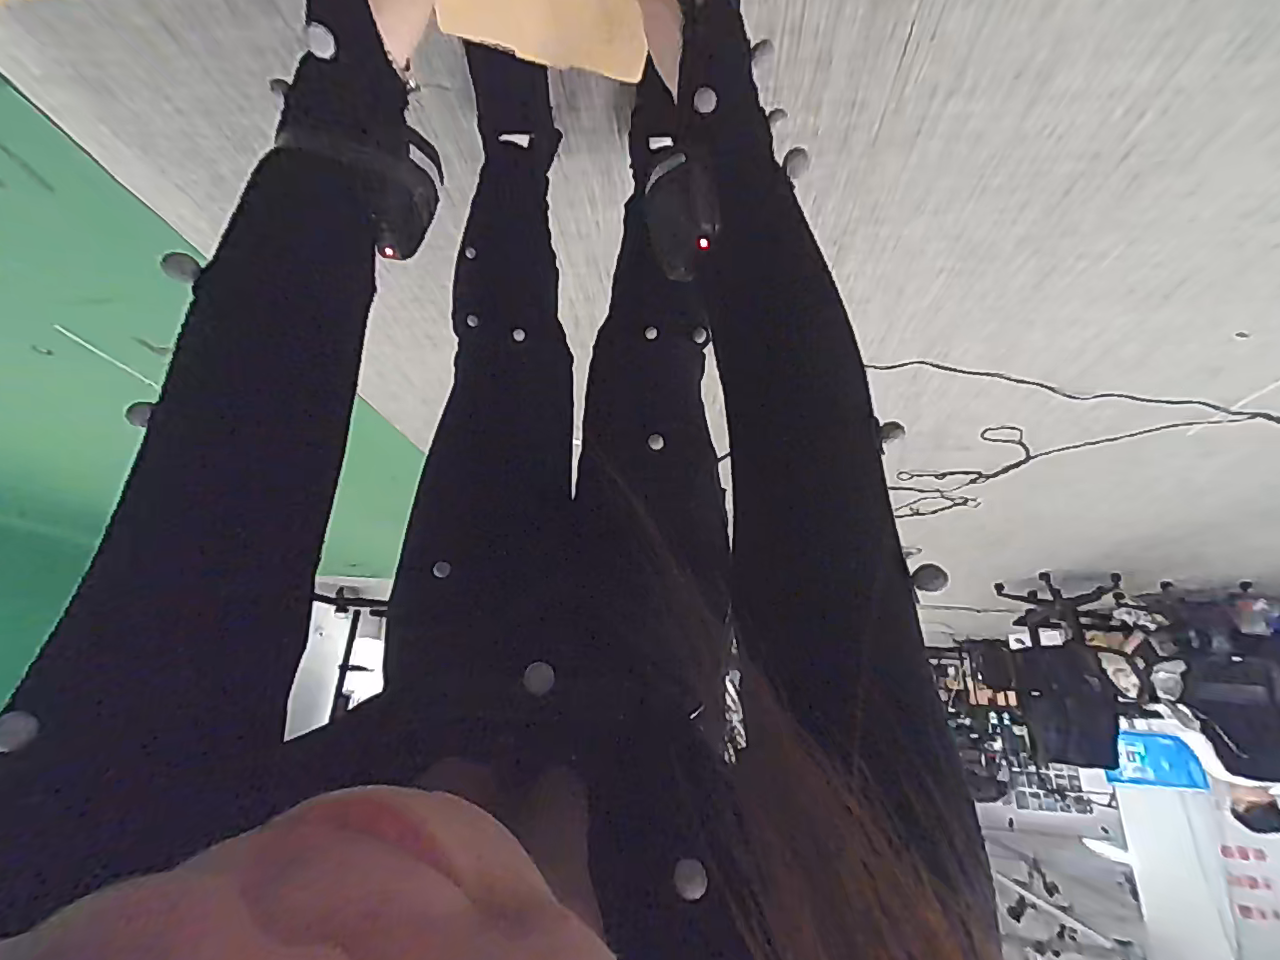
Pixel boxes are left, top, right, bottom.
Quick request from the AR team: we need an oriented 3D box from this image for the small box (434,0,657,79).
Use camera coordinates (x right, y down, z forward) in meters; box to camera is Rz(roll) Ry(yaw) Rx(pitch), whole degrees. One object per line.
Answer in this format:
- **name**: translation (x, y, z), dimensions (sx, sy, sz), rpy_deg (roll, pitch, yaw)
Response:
- **small box**: translation (-0.054, -0.445, 0.380), dimensions (0.168, 0.176, 0.179), rpy_deg (6, 161, -12)
